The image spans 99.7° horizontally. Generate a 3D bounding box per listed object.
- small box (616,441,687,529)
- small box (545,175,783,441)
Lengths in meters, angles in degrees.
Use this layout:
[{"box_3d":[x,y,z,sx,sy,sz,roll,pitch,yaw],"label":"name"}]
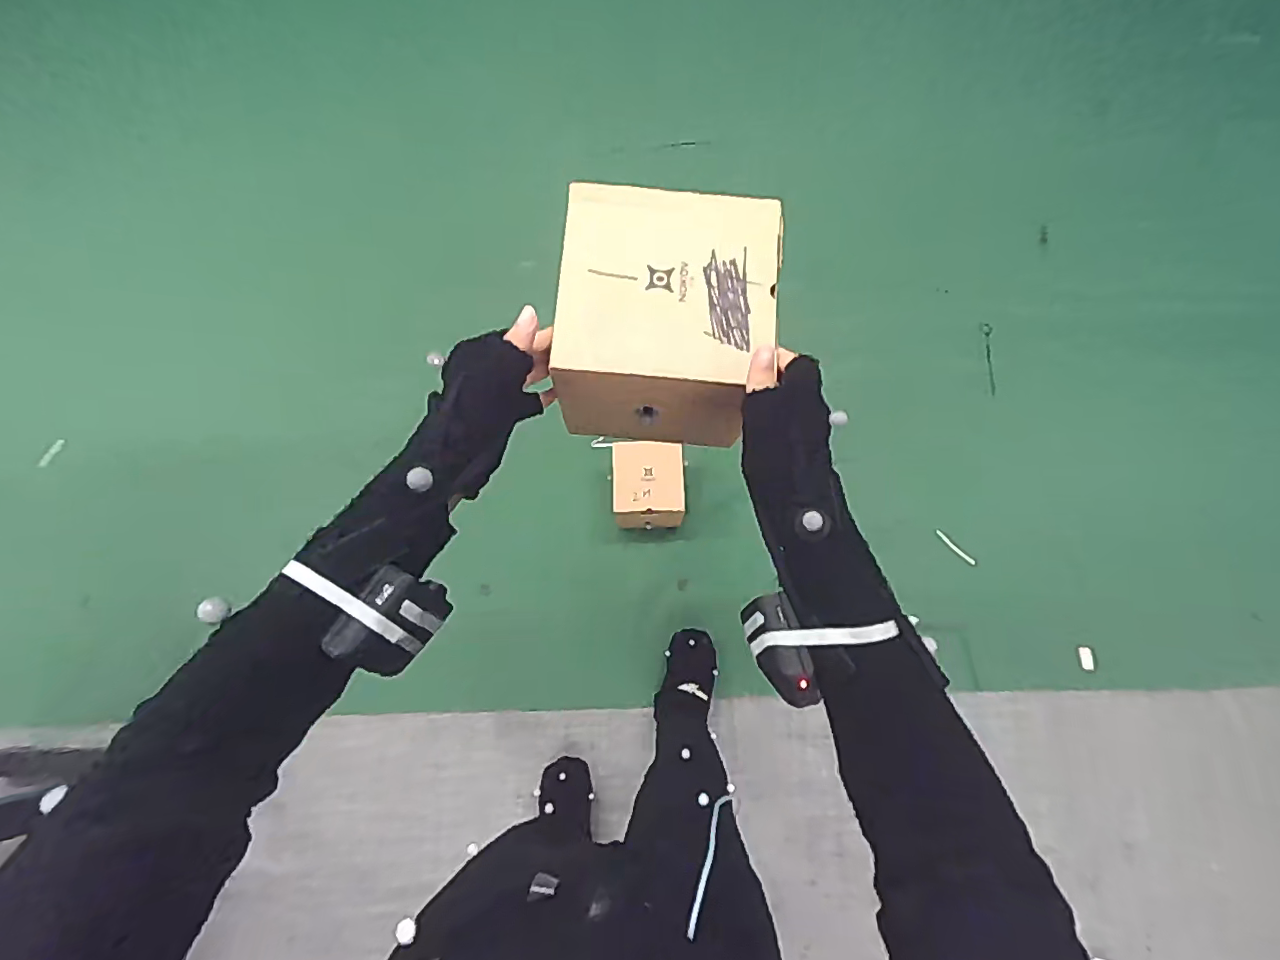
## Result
[{"box_3d":[0.025,0.017,1.328,0.168,0.176,0.179,-2,72,1],"label":"small box"},{"box_3d":[0.019,-0.143,0.507,0.179,0.176,0.168,8,75,-1],"label":"small box"}]
